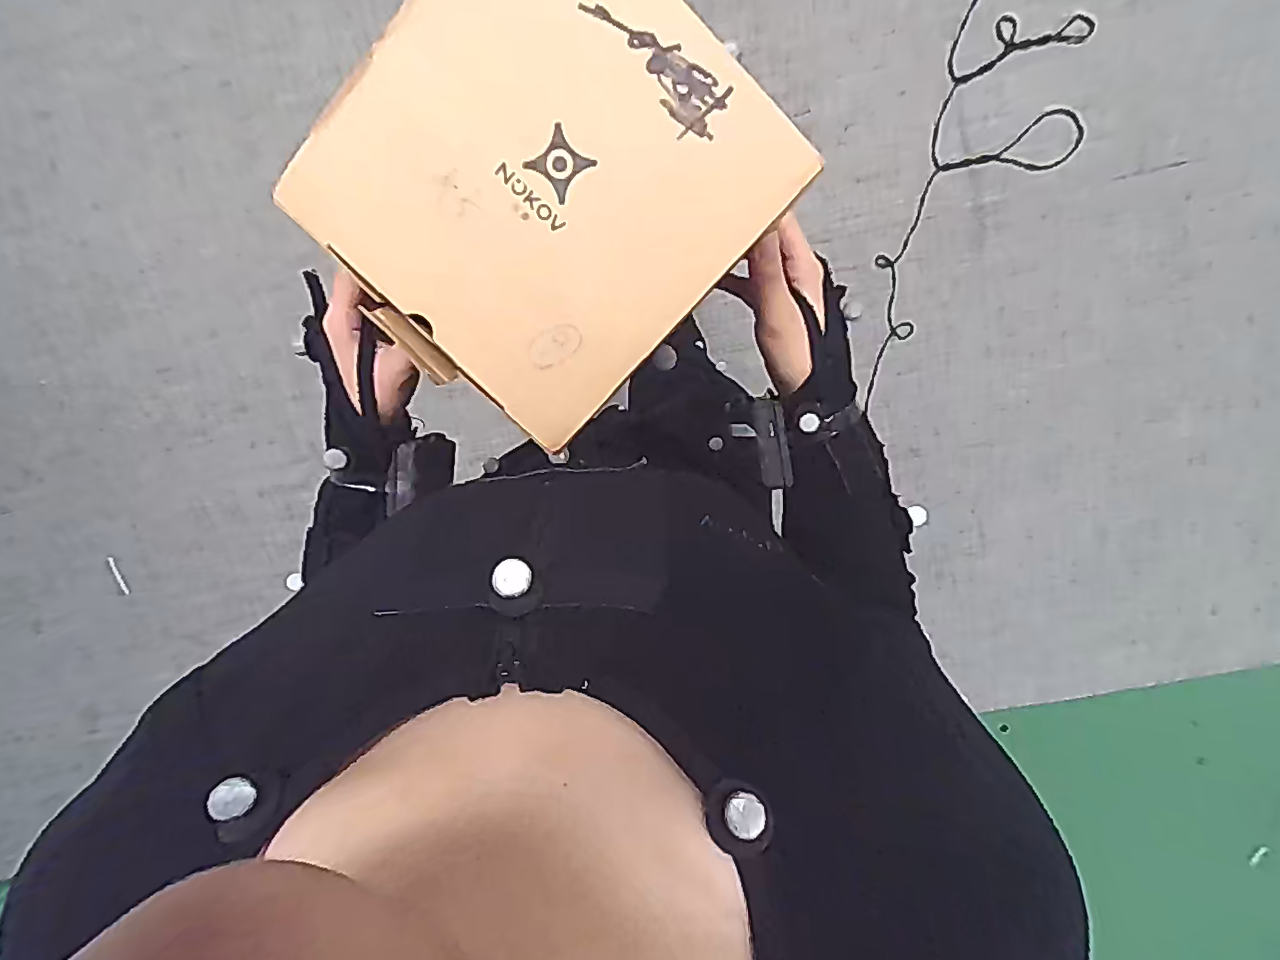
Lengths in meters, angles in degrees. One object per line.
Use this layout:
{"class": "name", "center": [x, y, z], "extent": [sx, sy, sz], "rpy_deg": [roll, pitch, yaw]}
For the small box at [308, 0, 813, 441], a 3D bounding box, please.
{"class": "small box", "center": [-0.036, -0.148, 0.322], "extent": [0.168, 0.176, 0.179], "rpy_deg": [43, 99, -8]}
